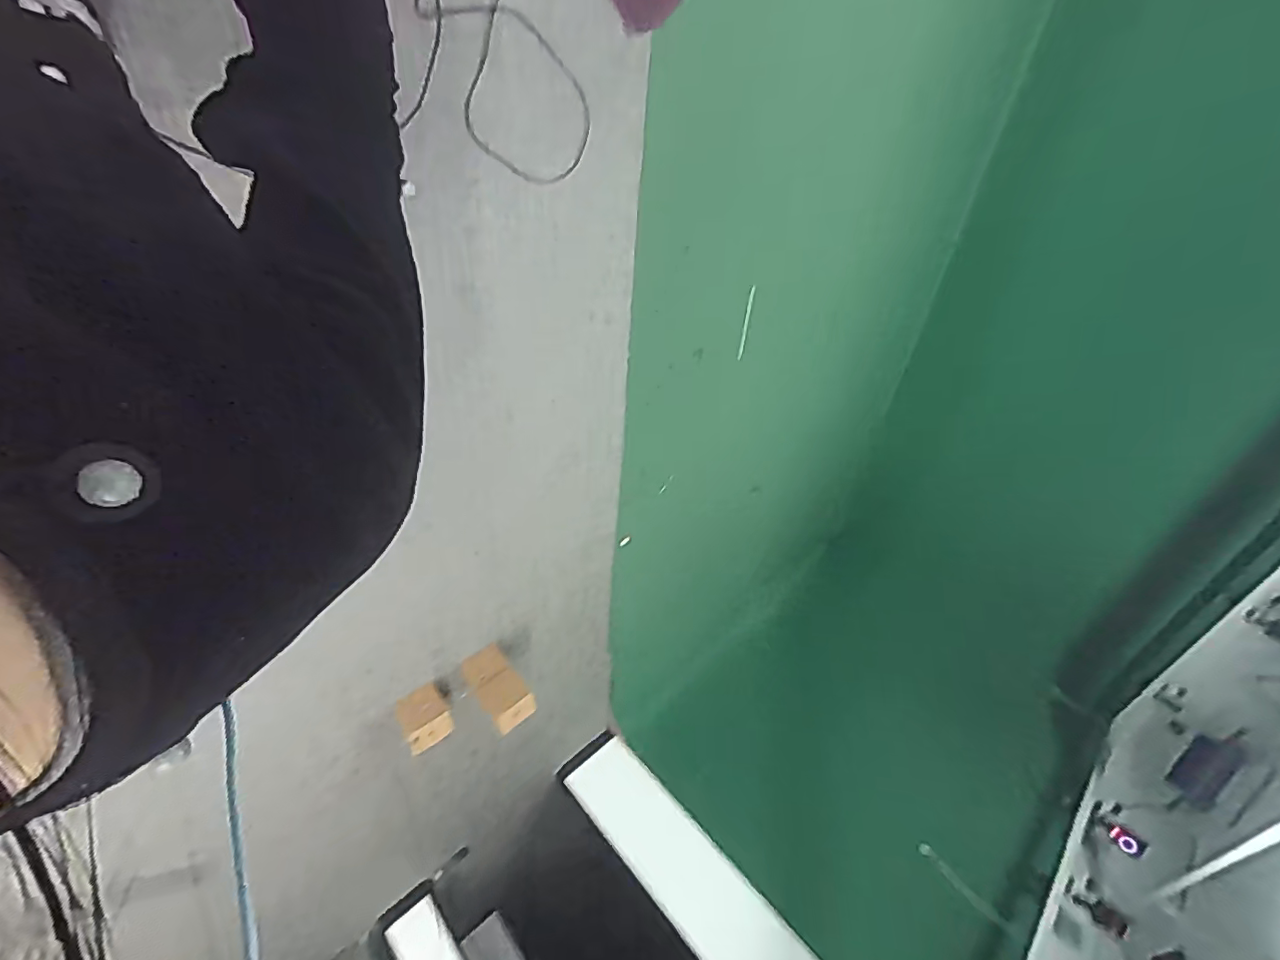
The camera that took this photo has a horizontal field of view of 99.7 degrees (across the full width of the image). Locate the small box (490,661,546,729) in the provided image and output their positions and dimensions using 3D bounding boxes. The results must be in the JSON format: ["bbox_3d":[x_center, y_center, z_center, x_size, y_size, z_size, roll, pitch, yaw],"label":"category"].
[{"bbox_3d":[-0.538,0.936,2.362,0.179,0.176,0.168,-31,138,-33],"label":"small box"}]

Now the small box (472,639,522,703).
[{"bbox_3d":[-0.648,0.868,2.463,0.179,0.176,0.168,-31,138,-33],"label":"small box"}]
